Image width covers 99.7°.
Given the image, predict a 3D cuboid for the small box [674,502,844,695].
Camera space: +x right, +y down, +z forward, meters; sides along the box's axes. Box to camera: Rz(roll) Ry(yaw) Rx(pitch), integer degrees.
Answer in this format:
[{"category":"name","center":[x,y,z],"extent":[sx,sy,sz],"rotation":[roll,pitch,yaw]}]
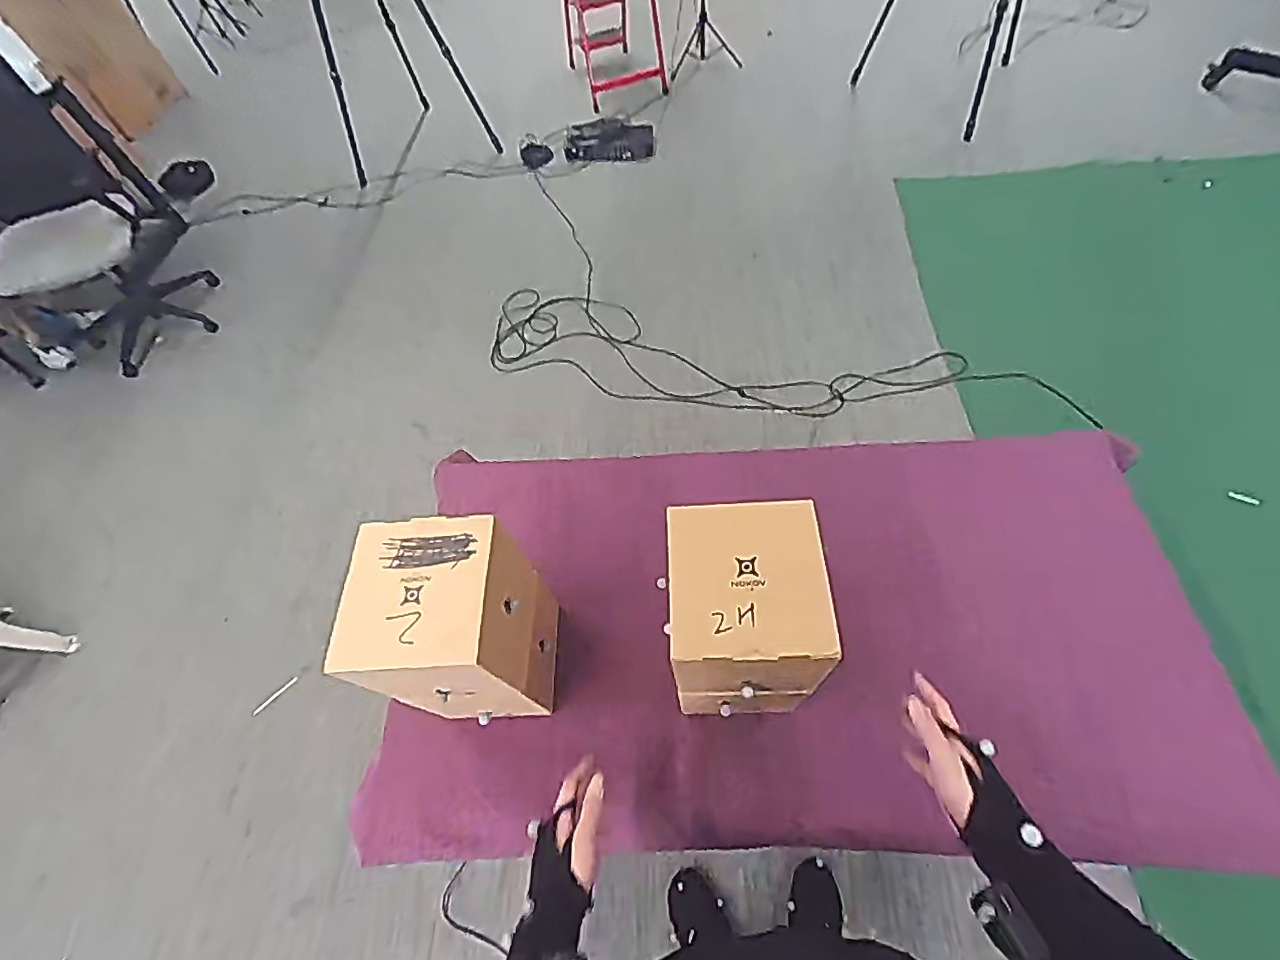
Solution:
[{"category":"small box","center":[0.124,0.142,0.635],"extent":[0.168,0.176,0.179],"rotation":[-3,58,5]}]

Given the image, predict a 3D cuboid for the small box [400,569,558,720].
[{"category":"small box","center":[-0.221,0.247,0.798],"extent":[0.168,0.176,0.179],"rotation":[-4,59,4]}]

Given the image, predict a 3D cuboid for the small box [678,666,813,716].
[{"category":"small box","center":[0.139,0.234,0.771],"extent":[0.168,0.176,0.179],"rotation":[-4,58,4]}]
